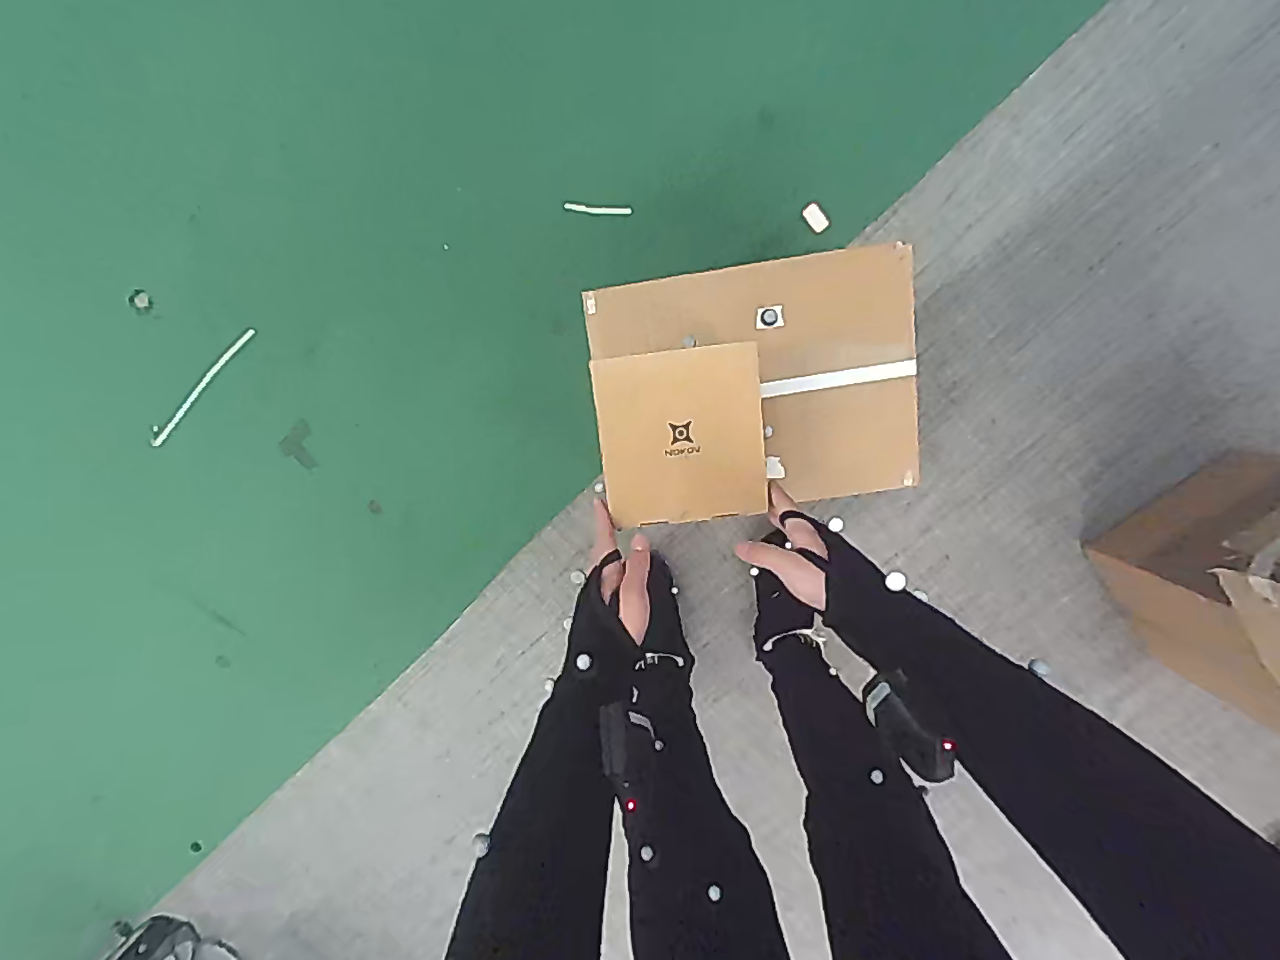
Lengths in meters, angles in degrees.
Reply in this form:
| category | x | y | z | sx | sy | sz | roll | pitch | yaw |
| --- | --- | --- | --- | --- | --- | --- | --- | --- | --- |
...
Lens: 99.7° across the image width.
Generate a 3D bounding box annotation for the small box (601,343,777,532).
| category | x | y | z | sx | sy | sz | roll | pitch | yaw |
| --- | --- | --- | --- | --- | --- | --- | --- | --- | --- |
| small box | 0.050 | -0.054 | 0.614 | 0.168 | 0.176 | 0.179 | -6 | 102 | 2 |
